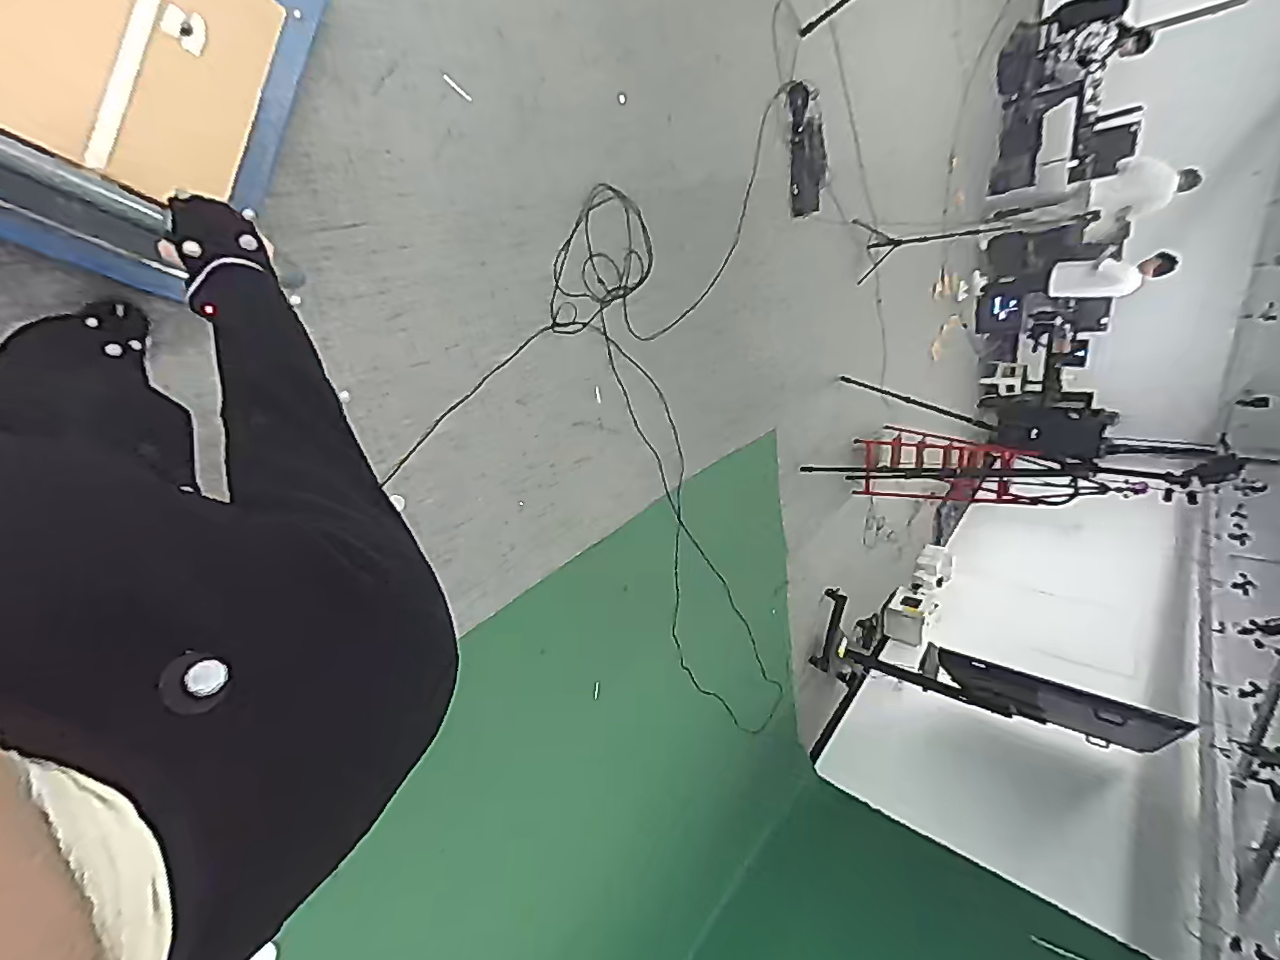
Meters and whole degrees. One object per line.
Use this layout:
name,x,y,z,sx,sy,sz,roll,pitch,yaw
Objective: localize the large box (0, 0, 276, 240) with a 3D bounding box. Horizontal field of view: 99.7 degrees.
large box,-0.878,-0.687,0.907,0.320,0.320,0.408,19,84,-49
